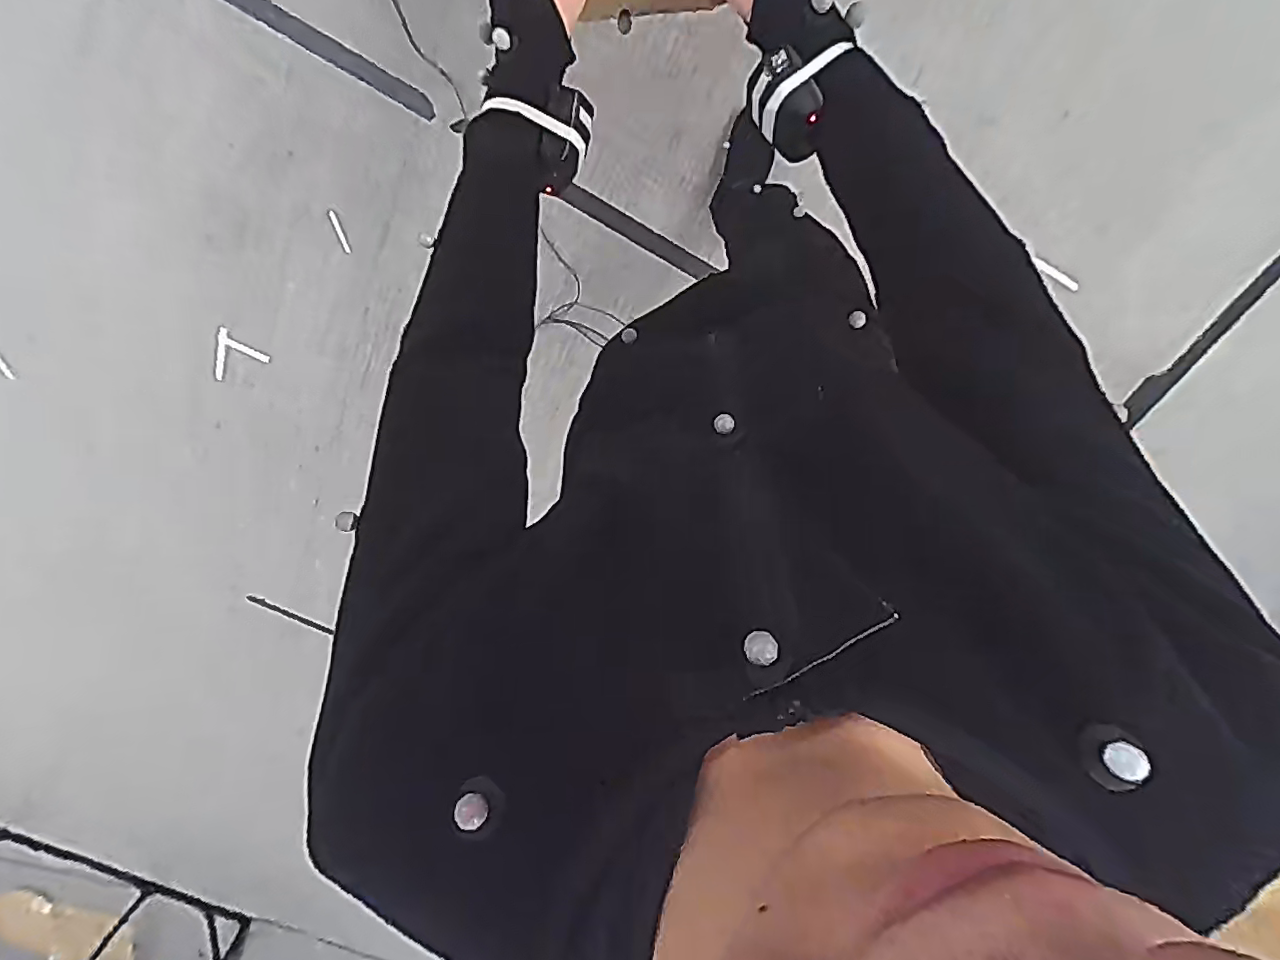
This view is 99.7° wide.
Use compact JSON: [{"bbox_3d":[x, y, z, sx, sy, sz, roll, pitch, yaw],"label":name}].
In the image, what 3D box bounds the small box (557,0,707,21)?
[{"bbox_3d":[-0.011,-0.535,0.473,0.168,0.176,0.179,-5,123,1],"label":"small box"}]
